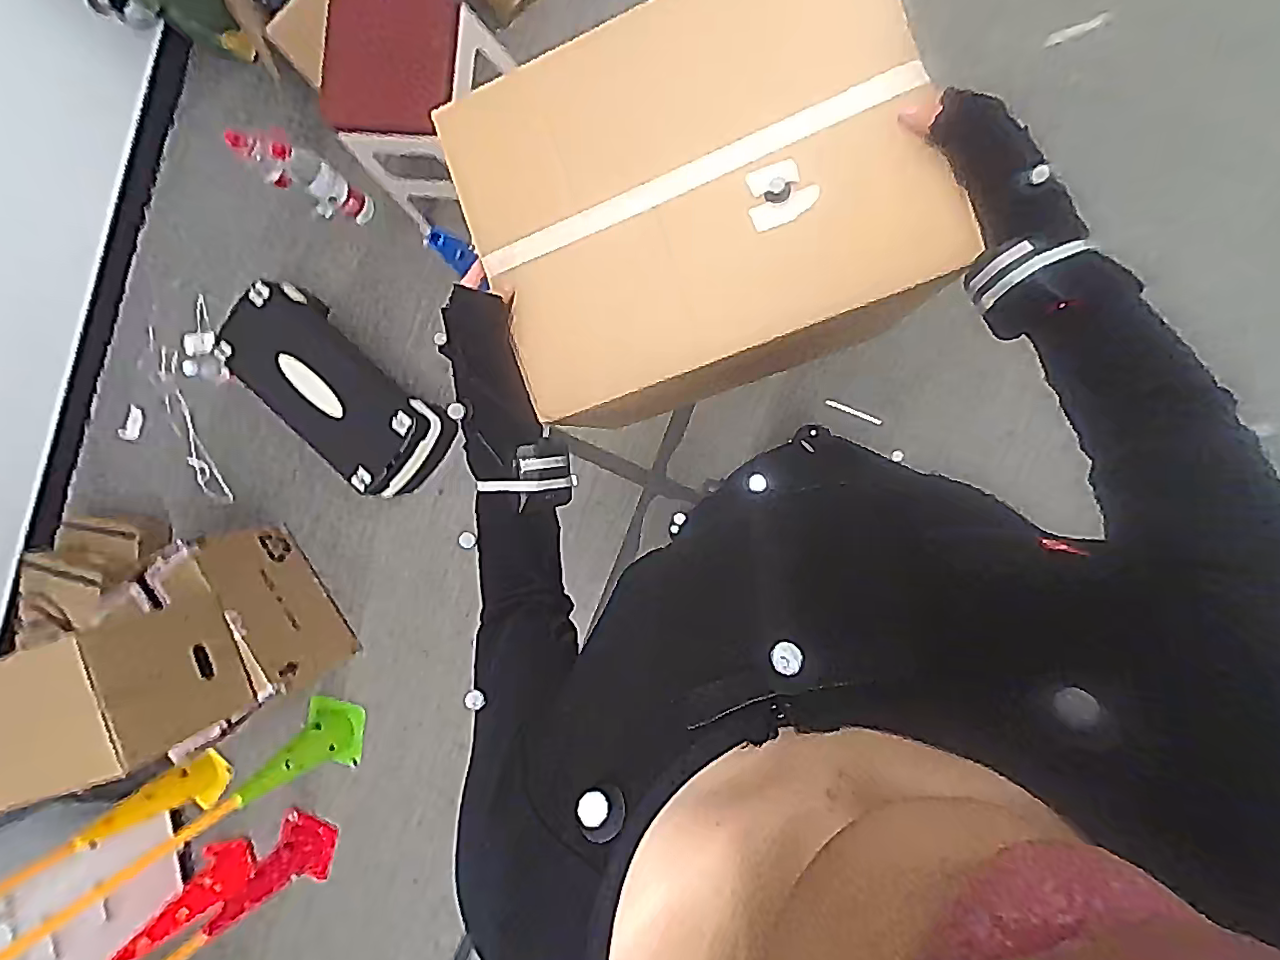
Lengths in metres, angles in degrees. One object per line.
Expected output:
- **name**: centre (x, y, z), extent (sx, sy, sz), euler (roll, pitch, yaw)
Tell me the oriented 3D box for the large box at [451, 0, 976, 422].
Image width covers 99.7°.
- **large box**: centre (0.072, -0.282, 0.627), extent (0.408, 0.320, 0.320), euler (-18, 91, 10)
